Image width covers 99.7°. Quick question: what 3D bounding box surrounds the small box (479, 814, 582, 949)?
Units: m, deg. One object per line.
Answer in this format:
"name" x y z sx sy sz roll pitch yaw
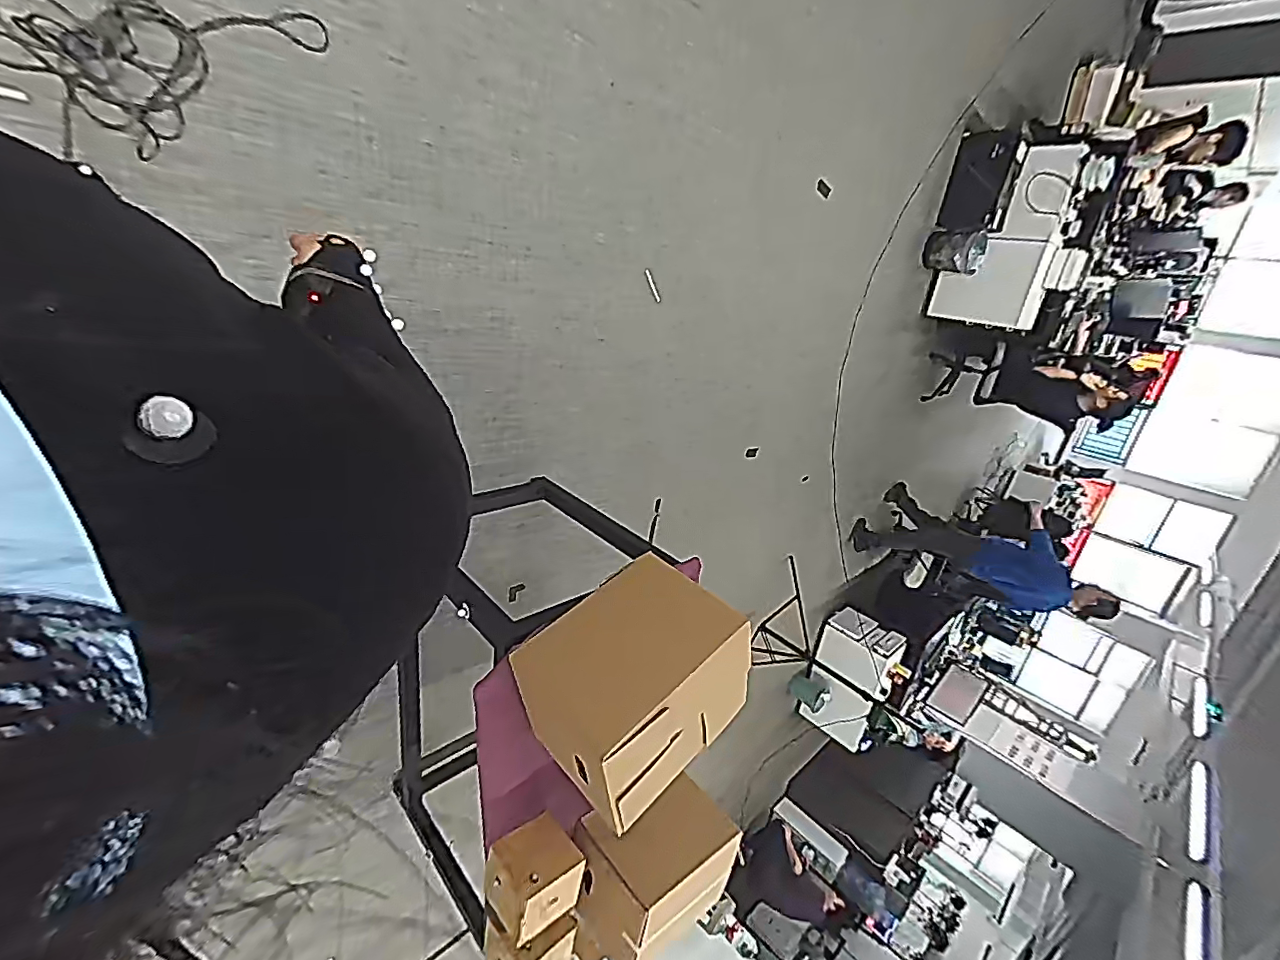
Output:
"small box" -0.274 0.985 1.348 0.179 0.176 0.168 -5 115 -44

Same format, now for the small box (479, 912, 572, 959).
"small box" -0.310 1.239 1.447 0.179 0.176 0.168 -9 118 -46
